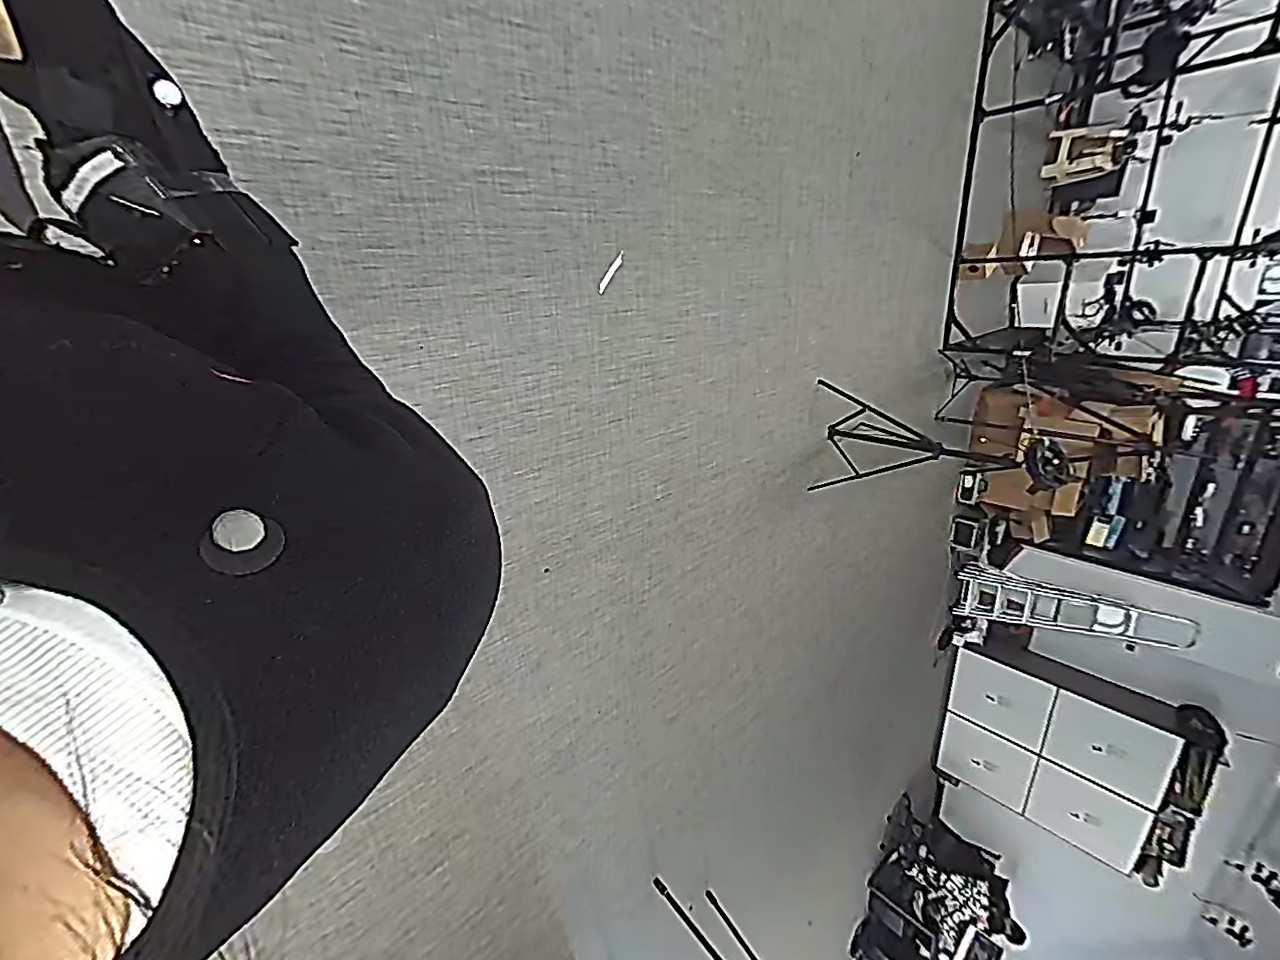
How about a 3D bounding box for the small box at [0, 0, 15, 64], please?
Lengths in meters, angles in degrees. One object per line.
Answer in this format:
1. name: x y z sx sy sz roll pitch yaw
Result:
1. small box: -0.329 -0.245 0.147 0.176 0.168 0.179 -19 126 -40
